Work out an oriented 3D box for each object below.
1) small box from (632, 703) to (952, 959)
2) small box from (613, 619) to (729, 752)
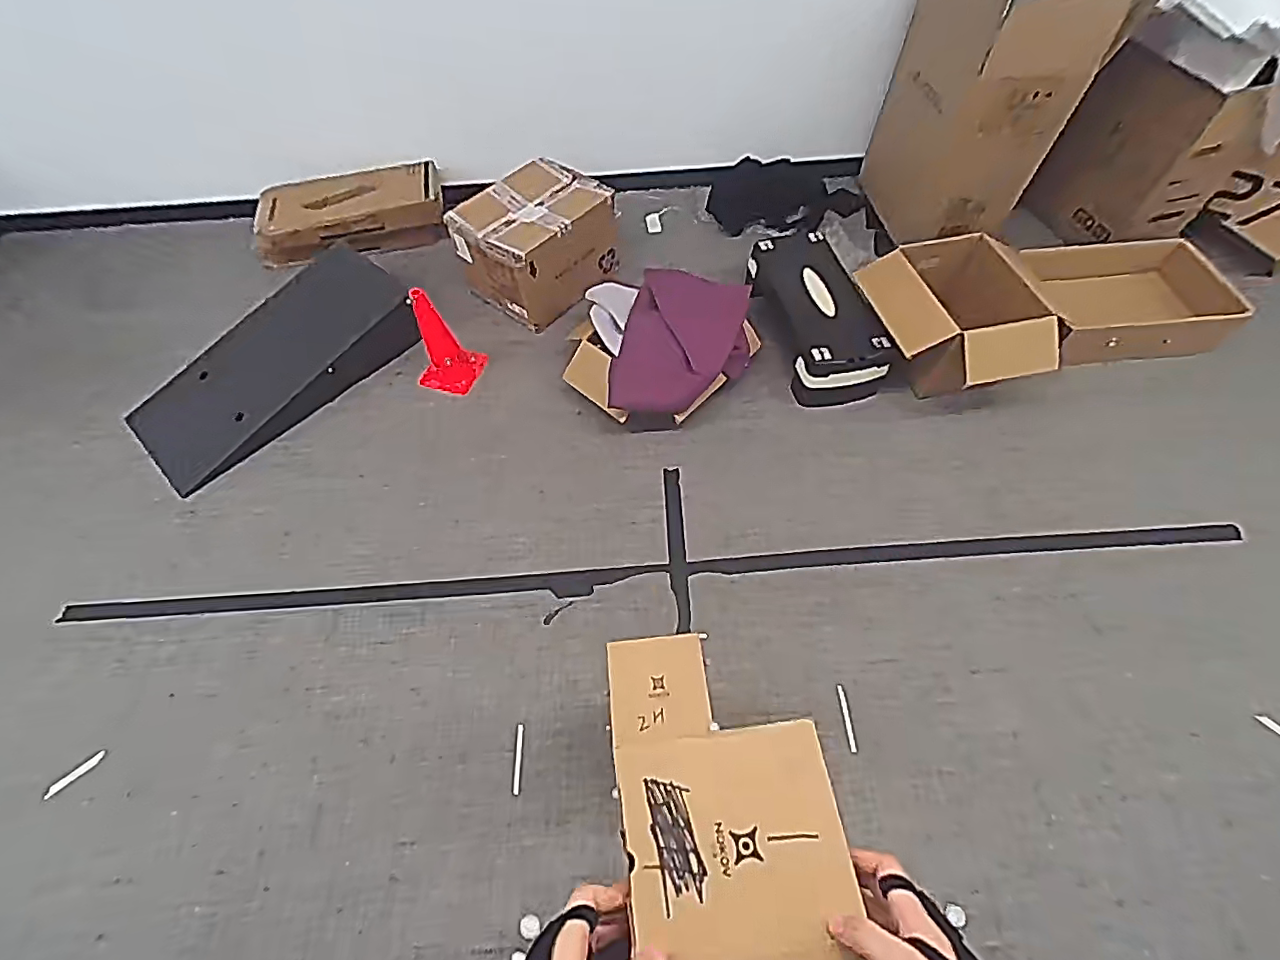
[{"bbox_3d":[0.092,0.282,0.414,0.179,0.176,0.168,-7,59,-3],"label":"small box"},{"bbox_3d":[0.046,0.346,0.894,0.168,0.176,0.179,-6,59,0],"label":"small box"}]
